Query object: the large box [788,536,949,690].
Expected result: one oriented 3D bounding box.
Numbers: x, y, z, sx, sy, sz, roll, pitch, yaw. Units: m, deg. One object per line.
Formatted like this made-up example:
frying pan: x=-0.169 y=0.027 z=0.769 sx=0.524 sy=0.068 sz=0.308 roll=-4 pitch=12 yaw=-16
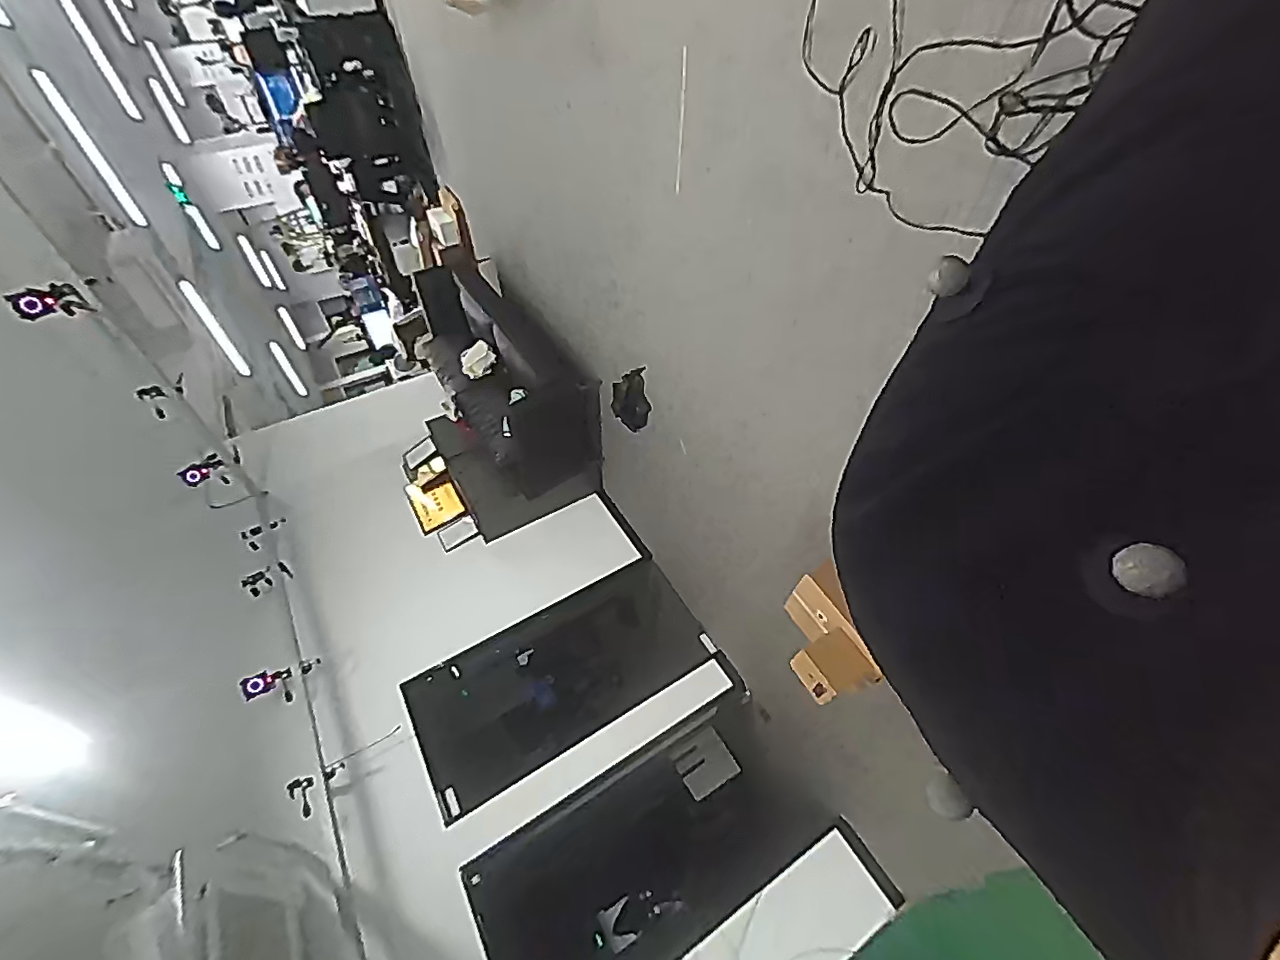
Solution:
large box: x=0.832 y=0.492 z=2.014 sx=0.408 sy=0.320 sz=0.320 roll=55 pitch=157 yaw=29
